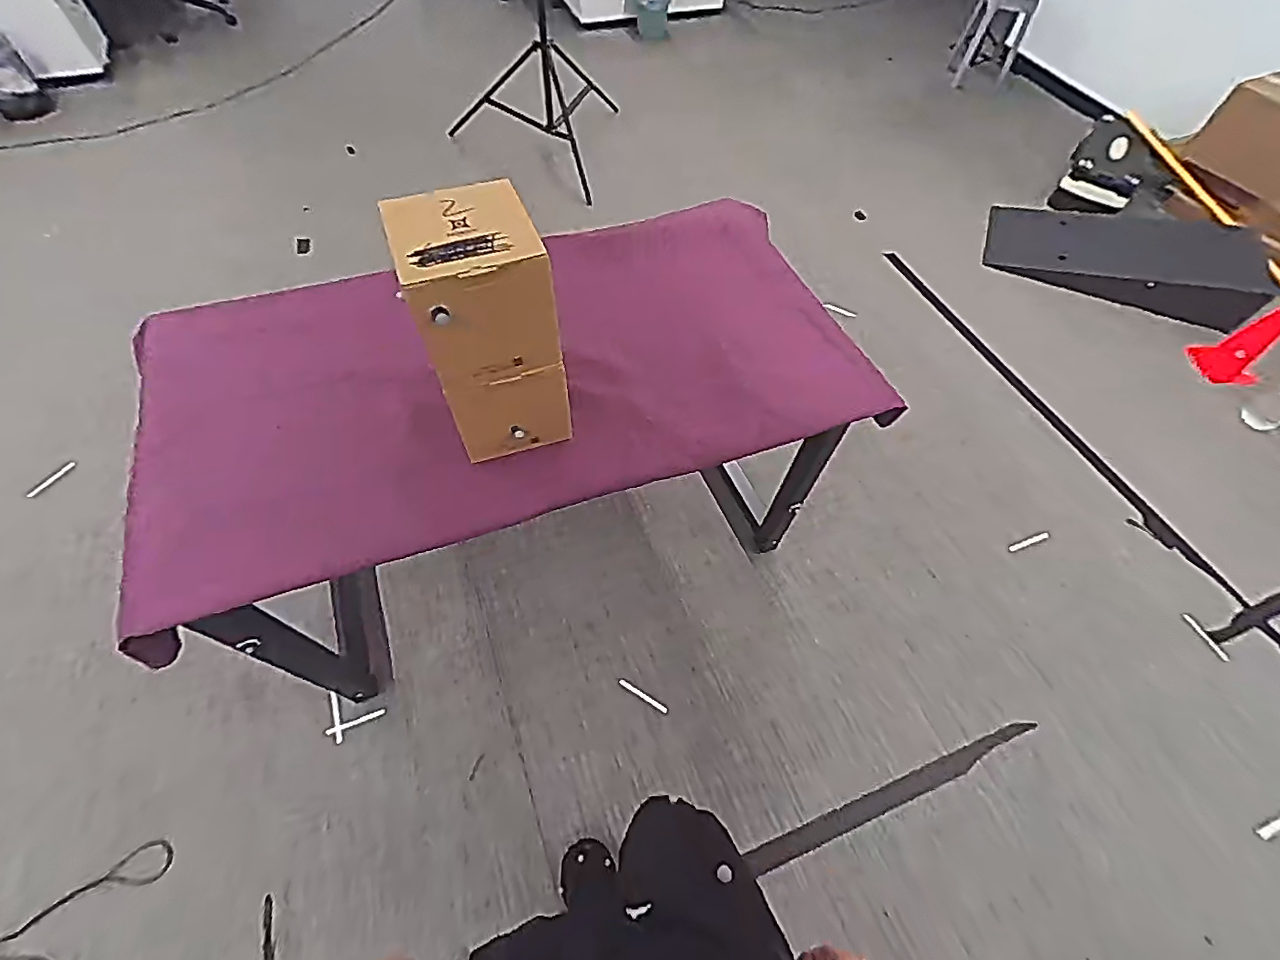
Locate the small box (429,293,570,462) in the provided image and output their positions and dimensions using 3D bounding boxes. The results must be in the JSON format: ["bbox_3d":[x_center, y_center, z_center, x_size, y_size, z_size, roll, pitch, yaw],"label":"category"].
[{"bbox_3d":[-0.214,-0.158,0.845,0.168,0.176,0.179,-16,60,-12],"label":"small box"}]
